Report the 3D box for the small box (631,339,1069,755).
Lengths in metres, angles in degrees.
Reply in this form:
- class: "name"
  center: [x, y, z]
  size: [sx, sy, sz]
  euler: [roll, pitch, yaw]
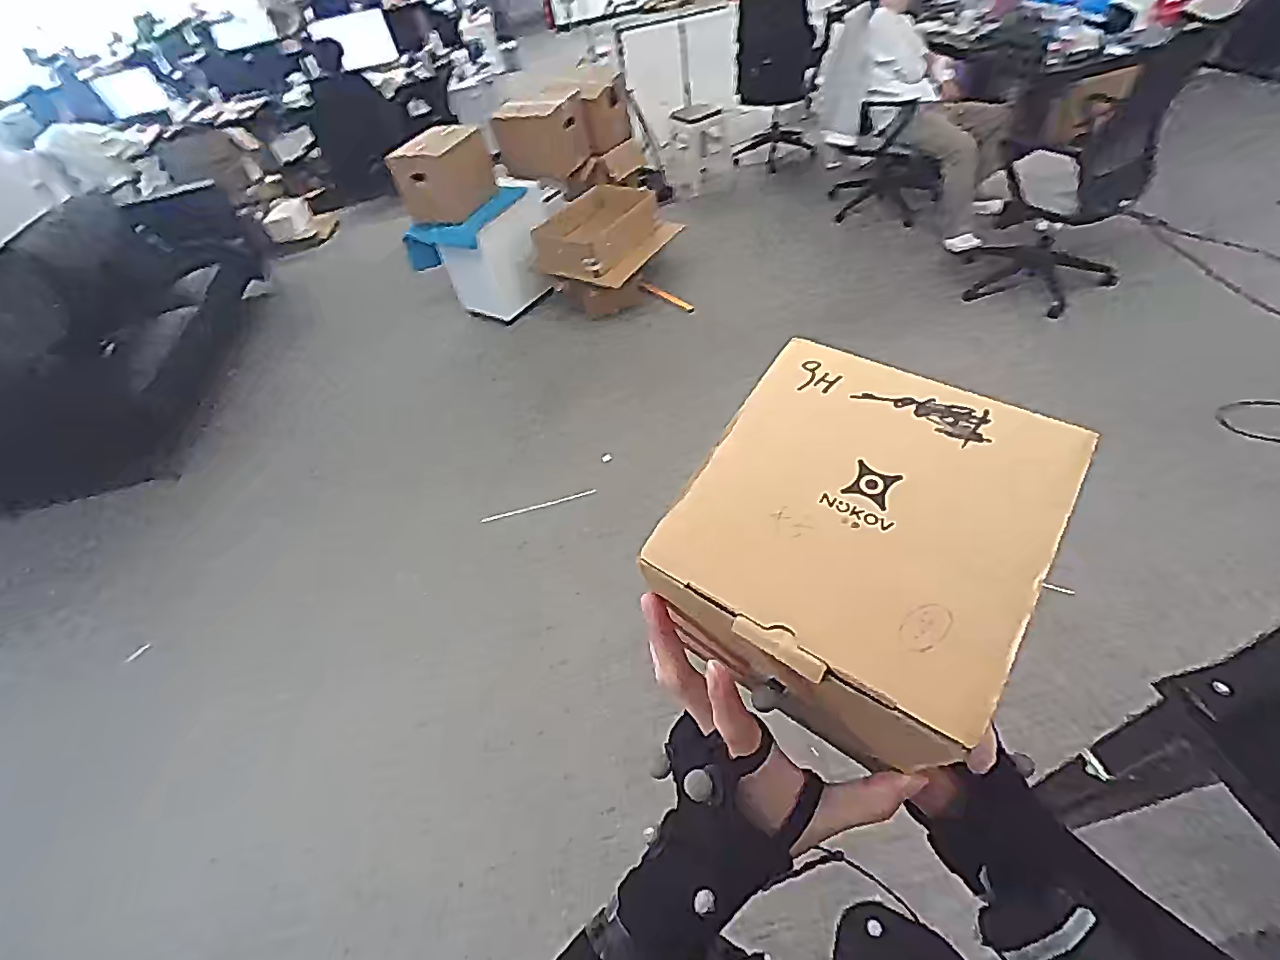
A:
- class: "small box"
  center: [0.122, 0.048, 0.348]
  size: [0.168, 0.176, 0.179]
  euler: [27, 67, 26]
